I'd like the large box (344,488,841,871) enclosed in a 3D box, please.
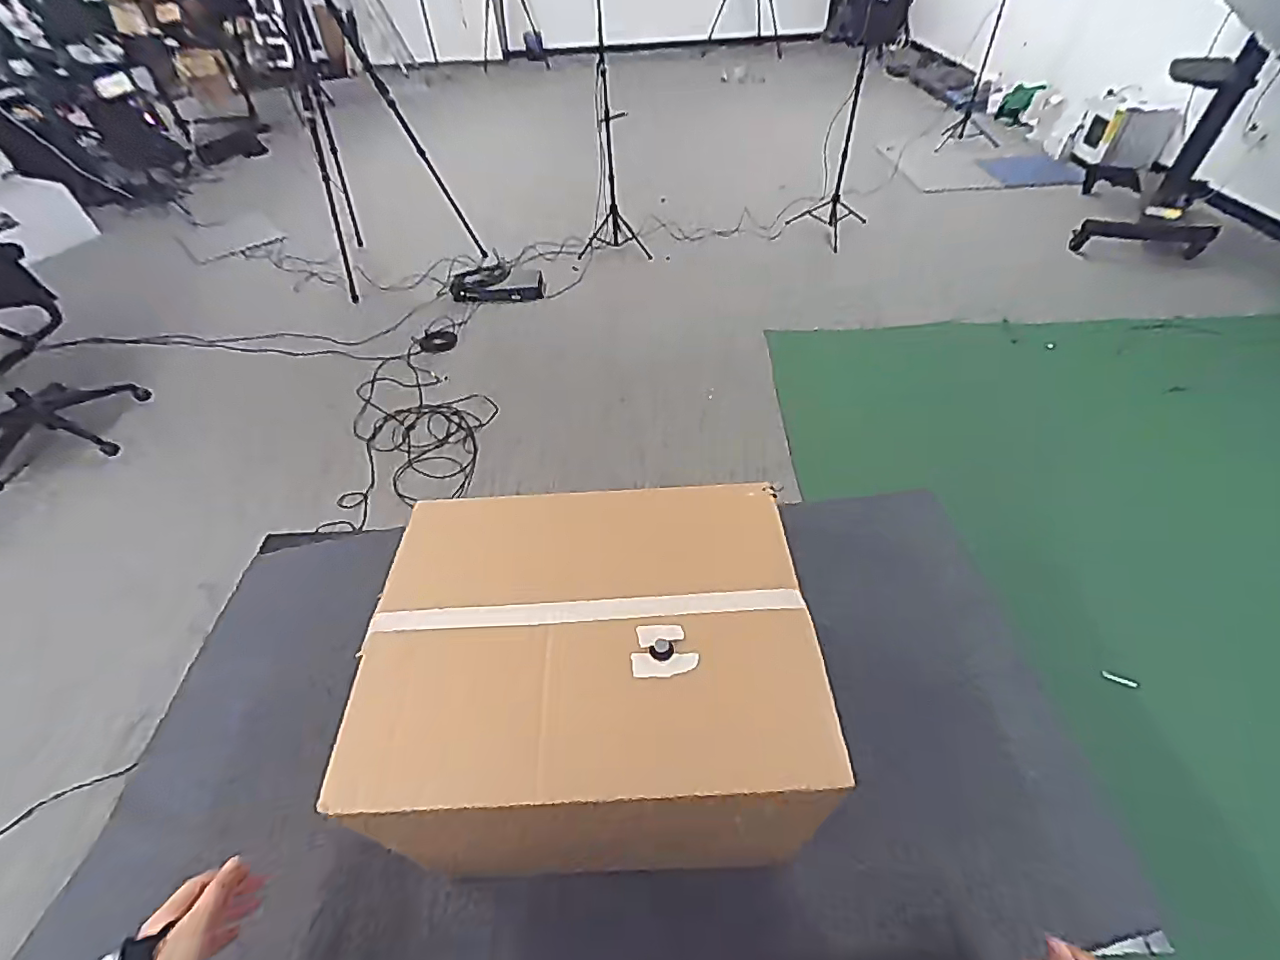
[{"bbox_3d":[-0.040,0.234,0.633,0.408,0.320,0.320,-3,47,0],"label":"large box"}]
